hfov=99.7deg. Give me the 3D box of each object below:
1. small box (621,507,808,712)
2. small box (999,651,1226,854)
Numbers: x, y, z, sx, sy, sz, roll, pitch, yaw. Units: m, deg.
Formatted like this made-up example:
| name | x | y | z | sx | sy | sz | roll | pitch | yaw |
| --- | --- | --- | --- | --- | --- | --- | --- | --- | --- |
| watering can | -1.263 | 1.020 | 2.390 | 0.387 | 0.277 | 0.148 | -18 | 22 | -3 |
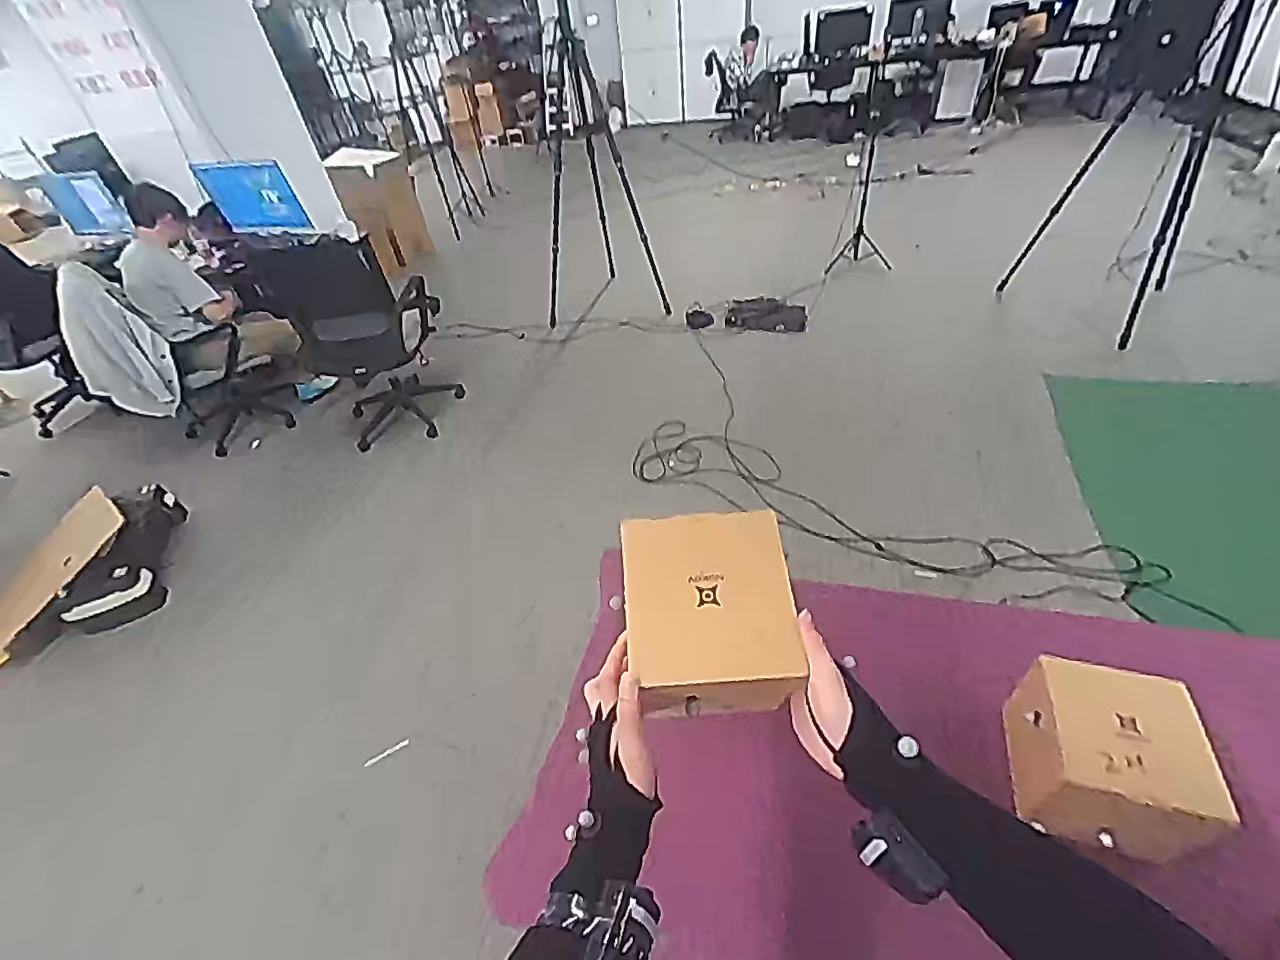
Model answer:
| name | x | y | z | sx | sy | sz | roll | pitch | yaw |
| --- | --- | --- | --- | --- | --- | --- | --- | --- | --- |
| small box | 0.071 | 0.151 | 0.597 | 0.168 | 0.176 | 0.179 | -5 | 58 | 0 |
| small box | 0.618 | 0.371 | 0.741 | 0.168 | 0.176 | 0.179 | 8 | 45 | 18 |
